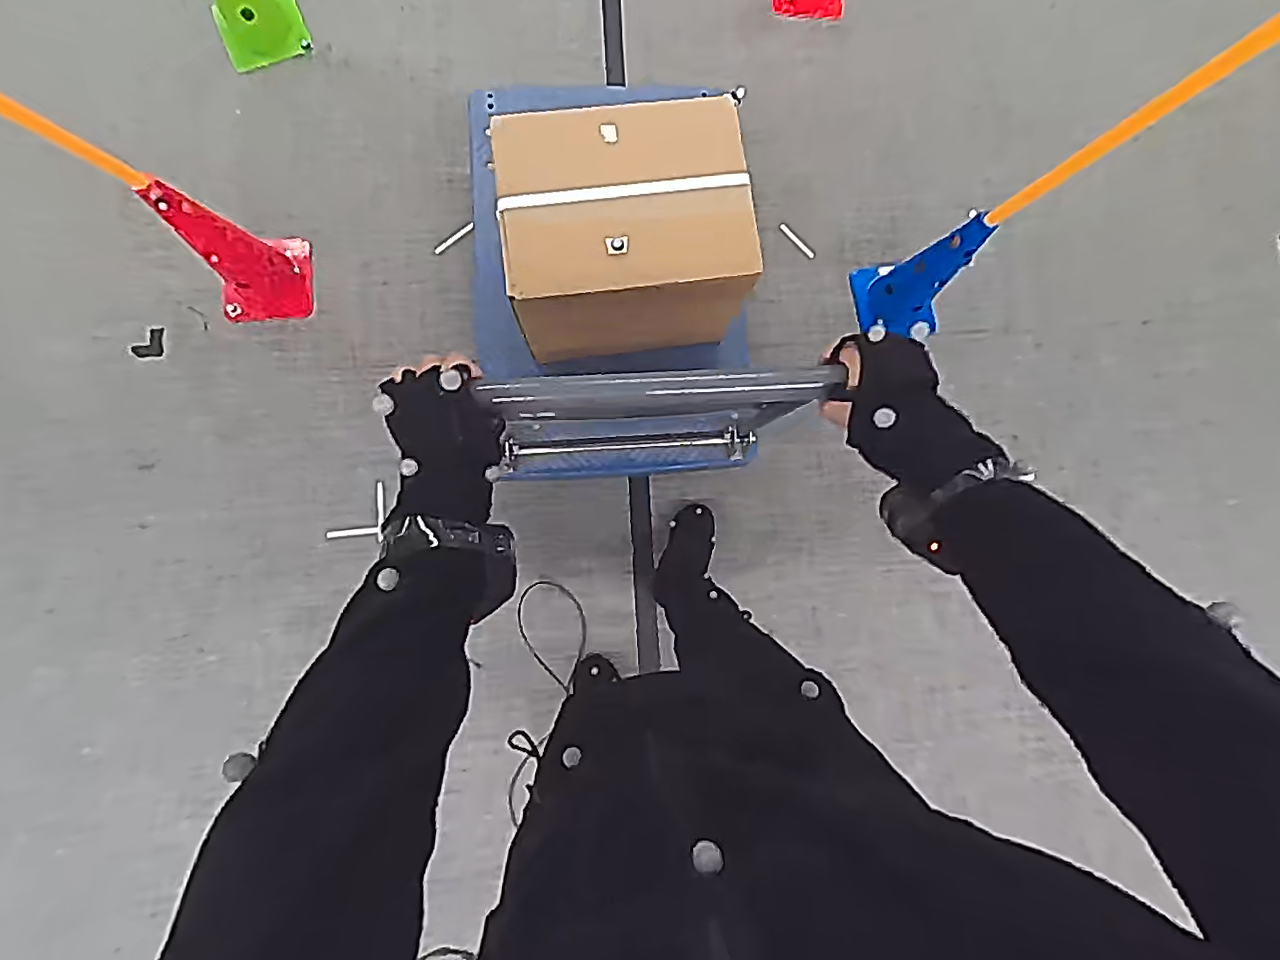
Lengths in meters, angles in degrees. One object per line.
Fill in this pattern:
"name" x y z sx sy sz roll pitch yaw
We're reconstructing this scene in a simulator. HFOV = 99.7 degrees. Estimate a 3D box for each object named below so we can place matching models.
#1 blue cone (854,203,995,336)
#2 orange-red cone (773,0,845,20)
"blue cone" 0.667 -0.488 1.233 0.193 0.380 0.192 -8 83 -5
"orange-red cone" 0.478 -1.376 1.310 0.199 0.360 0.198 3 84 -4
